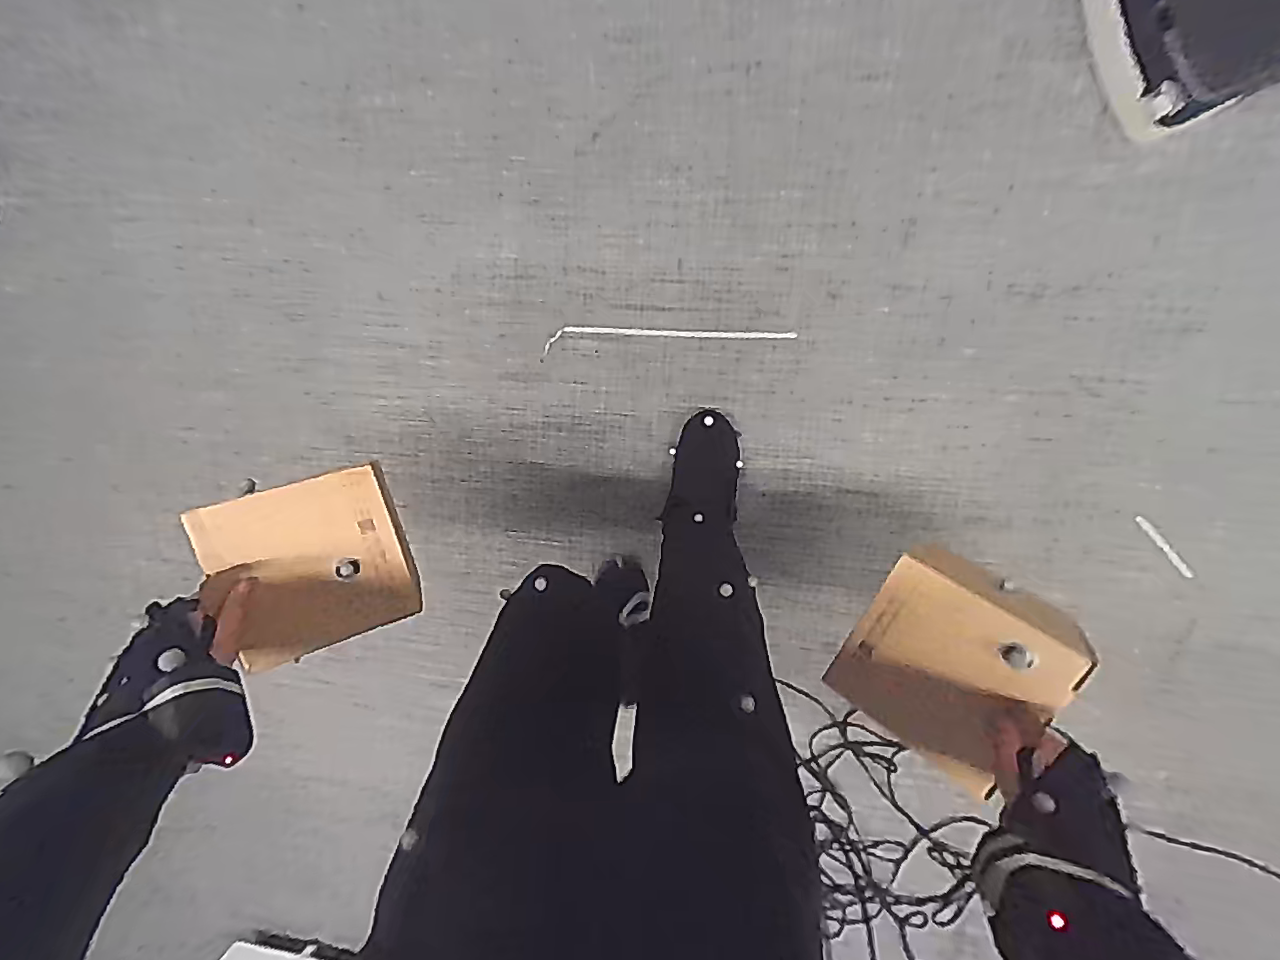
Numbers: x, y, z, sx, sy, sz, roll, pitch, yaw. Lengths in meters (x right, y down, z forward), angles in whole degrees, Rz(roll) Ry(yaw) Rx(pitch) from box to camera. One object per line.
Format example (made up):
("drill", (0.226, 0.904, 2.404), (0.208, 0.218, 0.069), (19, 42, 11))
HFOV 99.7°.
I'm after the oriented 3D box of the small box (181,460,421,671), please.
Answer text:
("small box", (-0.355, 0.079, 0.606), (0.176, 0.179, 0.168), (-19, 100, -22))
